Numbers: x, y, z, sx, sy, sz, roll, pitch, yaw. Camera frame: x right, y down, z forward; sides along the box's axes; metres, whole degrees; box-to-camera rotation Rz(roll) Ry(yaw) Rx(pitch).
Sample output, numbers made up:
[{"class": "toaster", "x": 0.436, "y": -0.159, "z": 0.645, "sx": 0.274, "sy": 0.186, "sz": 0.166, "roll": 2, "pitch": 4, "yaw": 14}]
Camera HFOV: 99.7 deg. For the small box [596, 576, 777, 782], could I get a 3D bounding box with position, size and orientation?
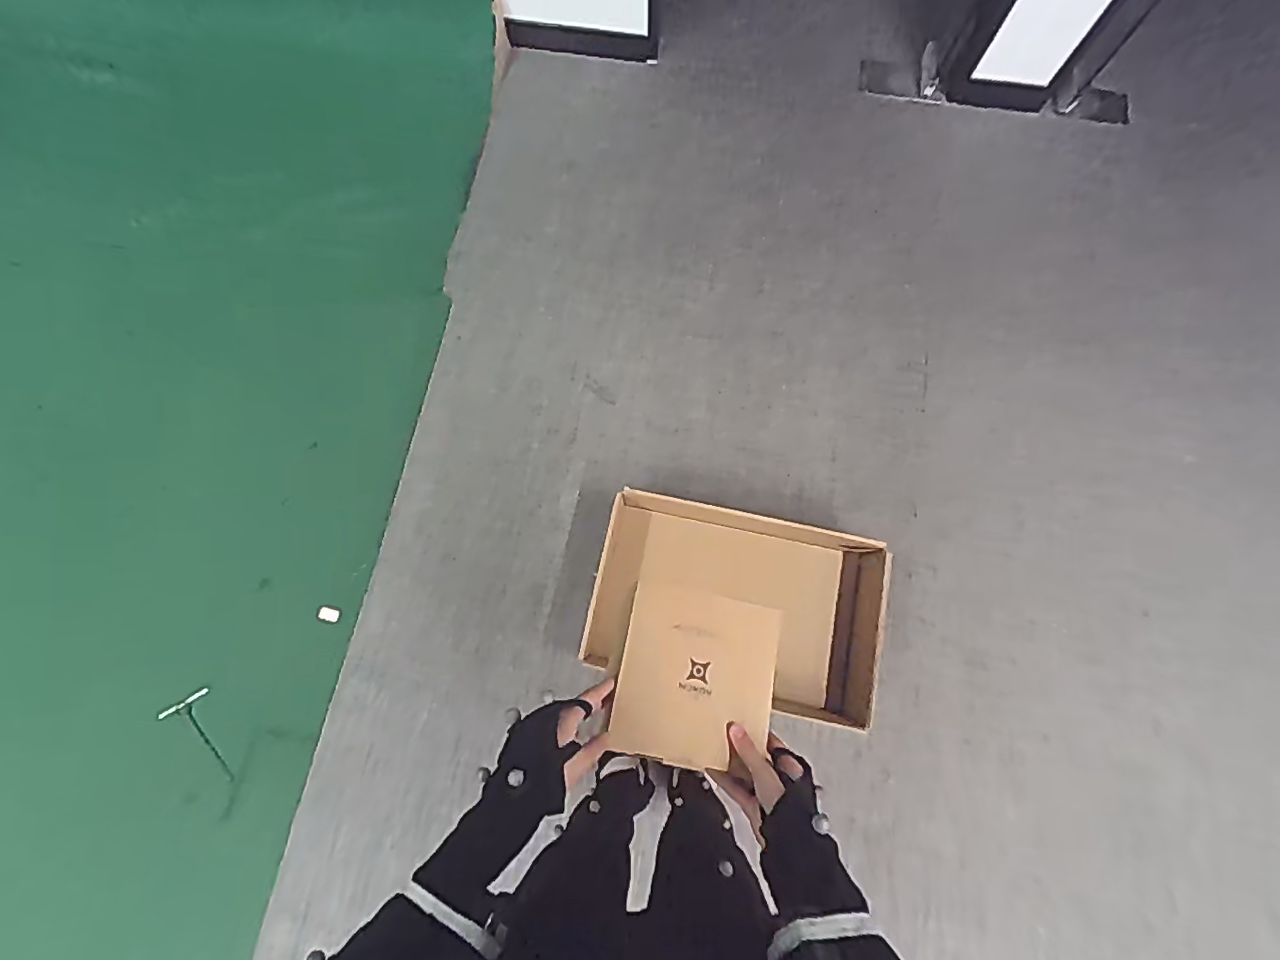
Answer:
[{"class": "small box", "x": 0.046, "y": 0.230, "z": 0.639, "sx": 0.168, "sy": 0.176, "sz": 0.179, "roll": 14, "pitch": 69, "yaw": -2}]
